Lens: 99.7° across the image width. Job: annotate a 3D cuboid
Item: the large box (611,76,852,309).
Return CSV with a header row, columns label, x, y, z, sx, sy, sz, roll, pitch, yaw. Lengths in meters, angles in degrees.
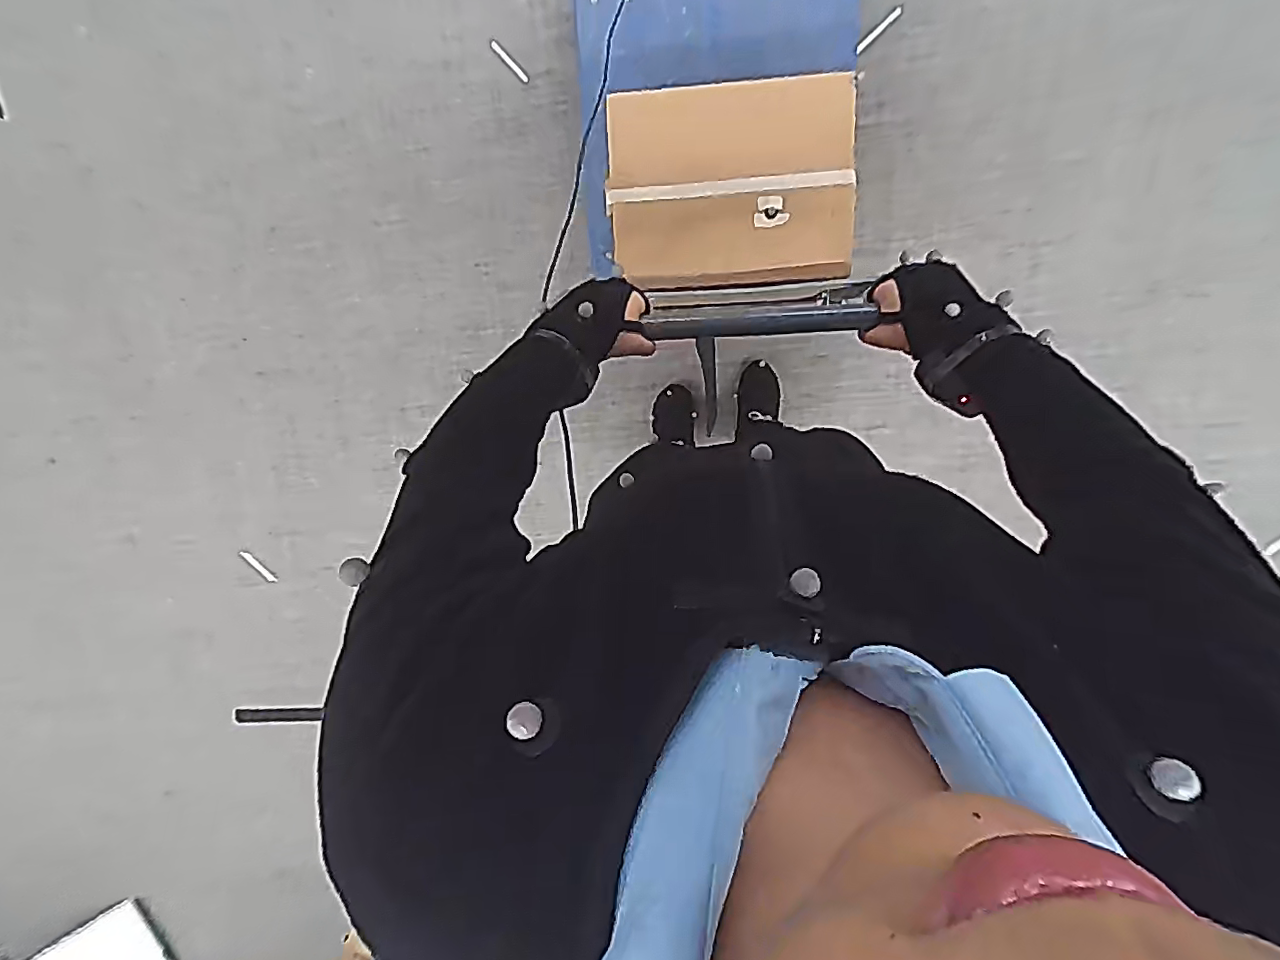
label,x,y,z,sx,sy,sz,roll,pitch,yaw
large box,0.165,-0.527,1.068,0.408,0.320,0.320,-2,102,4
